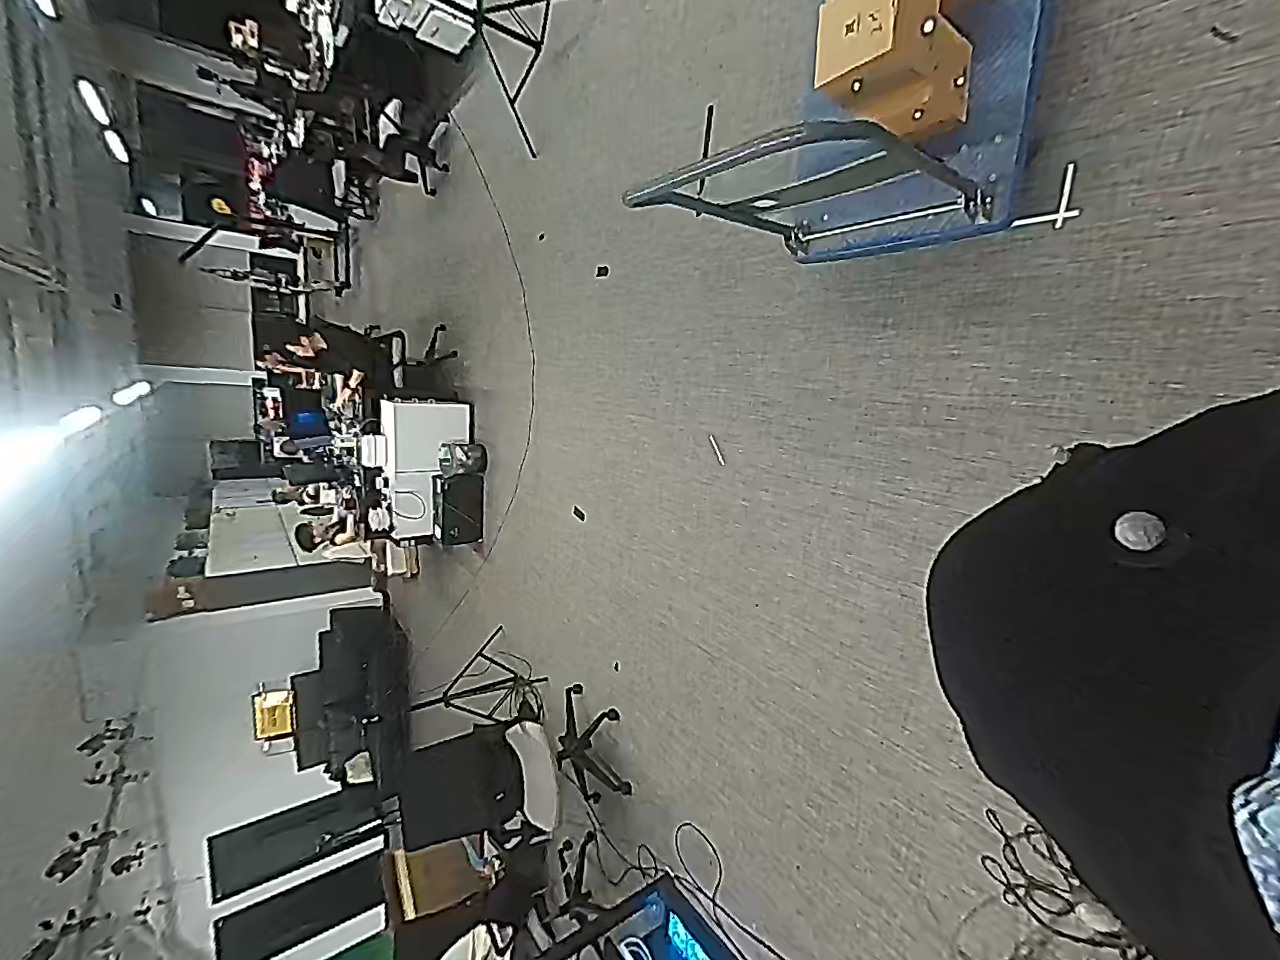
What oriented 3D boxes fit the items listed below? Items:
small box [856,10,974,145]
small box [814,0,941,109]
[{"bbox_3d":[0.620,-0.894,1.224,0.179,0.176,0.168,10,101,52],"label":"small box"},{"bbox_3d":[0.490,-0.911,1.120,0.179,0.176,0.168,11,102,51],"label":"small box"}]
